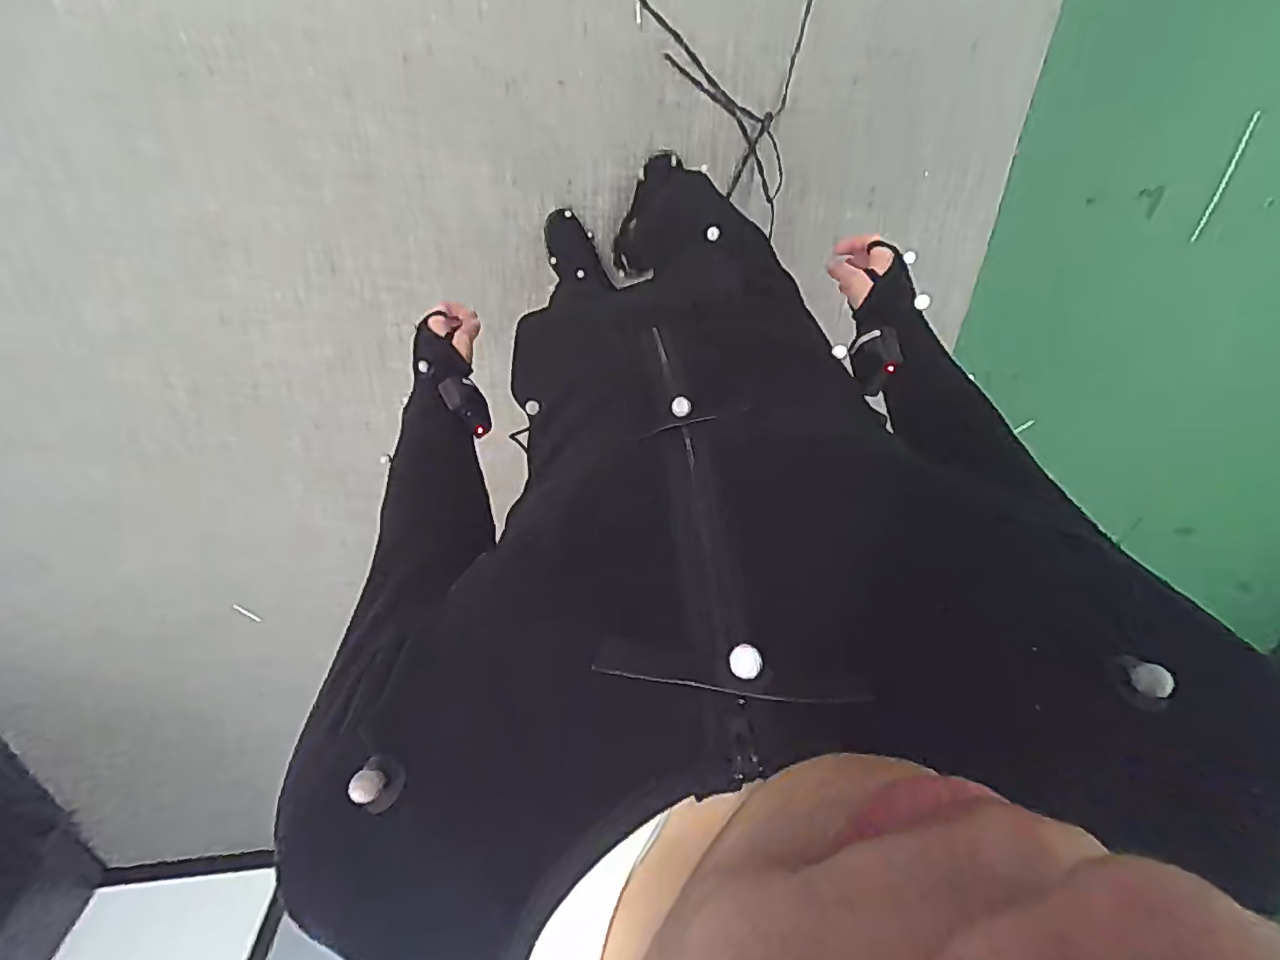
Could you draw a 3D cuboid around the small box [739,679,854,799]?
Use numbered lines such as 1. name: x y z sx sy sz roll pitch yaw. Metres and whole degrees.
1. small box: 0.324 0.555 1.164 0.168 0.176 0.179 3 119 -10
